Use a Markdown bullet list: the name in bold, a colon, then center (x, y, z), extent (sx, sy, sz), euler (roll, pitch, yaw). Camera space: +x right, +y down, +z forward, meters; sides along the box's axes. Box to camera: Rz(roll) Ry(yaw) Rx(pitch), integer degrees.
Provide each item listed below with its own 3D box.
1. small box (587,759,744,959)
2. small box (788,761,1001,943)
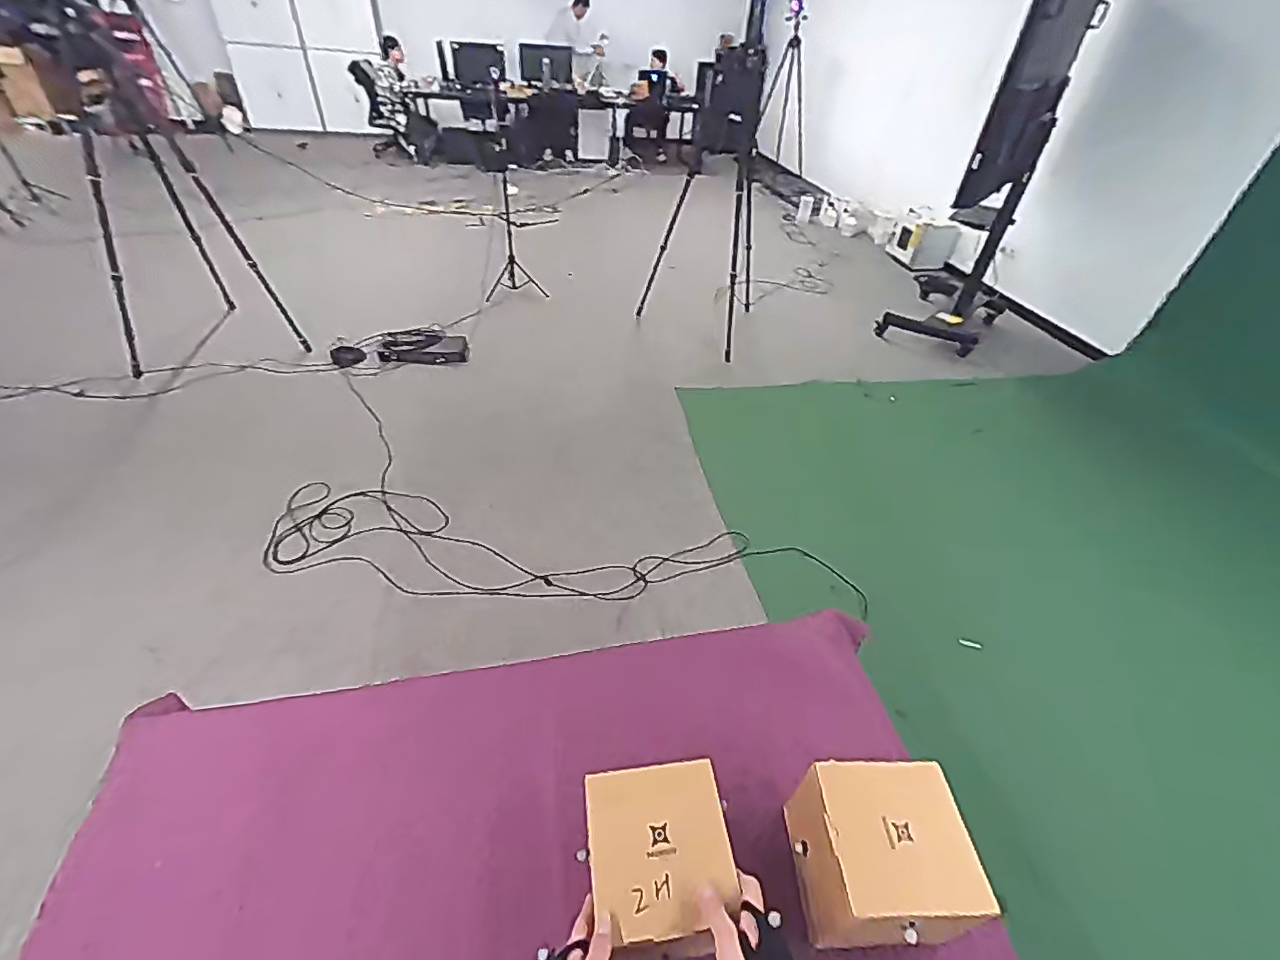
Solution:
- **small box**: center (0.019, 0.483, 0.683), extent (0.168, 0.176, 0.179), euler (-4, 42, -6)
- **small box**: center (0.312, 0.486, 0.709), extent (0.179, 0.176, 0.168), euler (0, 42, -2)
